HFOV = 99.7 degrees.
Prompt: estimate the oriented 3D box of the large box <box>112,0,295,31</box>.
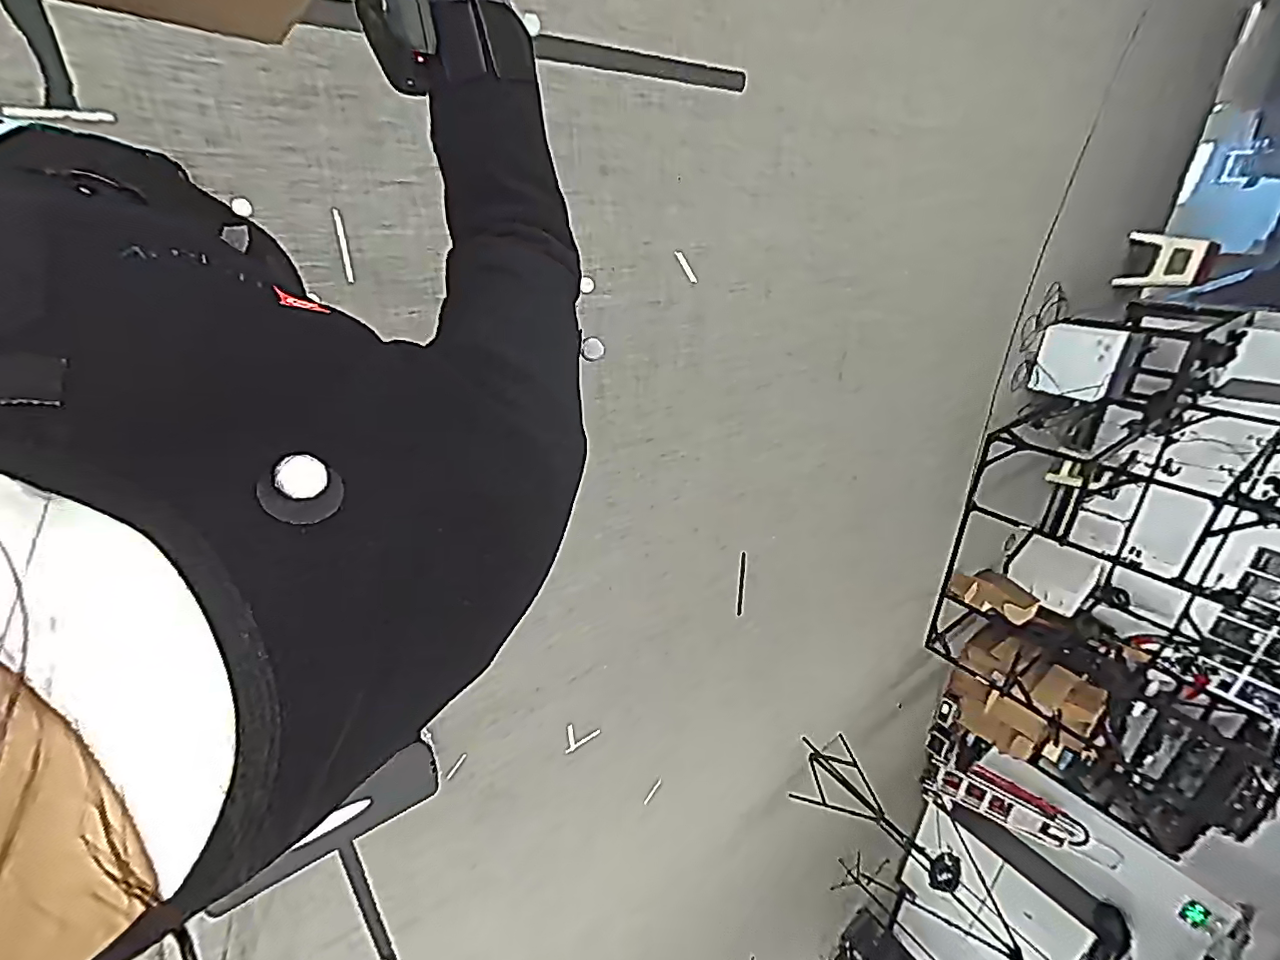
[{"bbox_3d":[-0.400,-0.458,0.231,0.408,0.320,0.320,-16,123,-35],"label":"large box"}]
